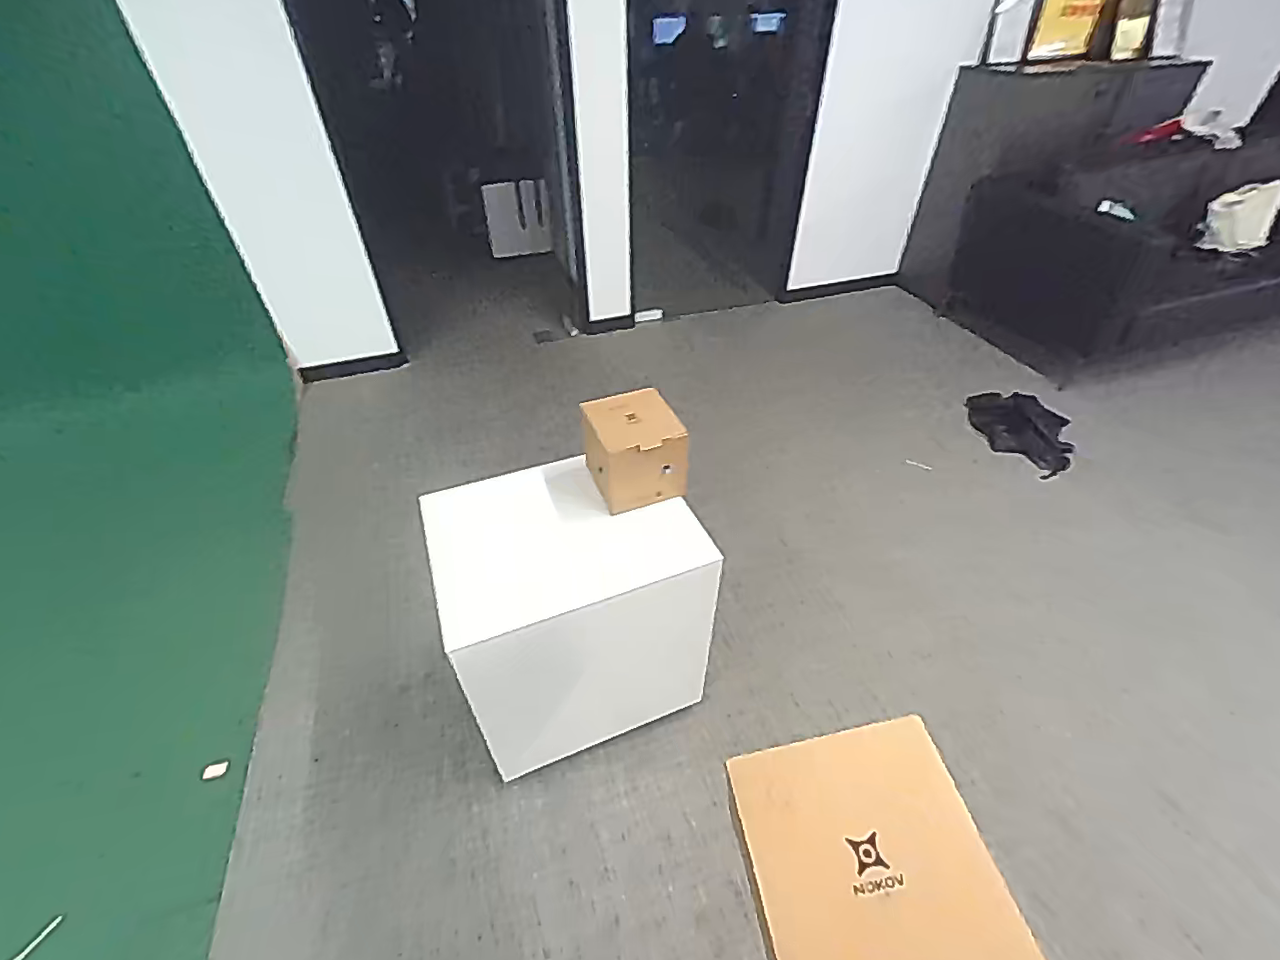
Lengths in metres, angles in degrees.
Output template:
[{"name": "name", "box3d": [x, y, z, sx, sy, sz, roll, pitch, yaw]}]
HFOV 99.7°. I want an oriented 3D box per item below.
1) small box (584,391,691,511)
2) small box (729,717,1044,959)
[{"name": "small box", "box3d": [-0.007, -0.054, 1.113, 0.168, 0.176, 0.179, -15, 43, -17]}, {"name": "small box", "box3d": [0.173, 0.325, 0.441, 0.168, 0.176, 0.179, -13, 47, -1]}]
